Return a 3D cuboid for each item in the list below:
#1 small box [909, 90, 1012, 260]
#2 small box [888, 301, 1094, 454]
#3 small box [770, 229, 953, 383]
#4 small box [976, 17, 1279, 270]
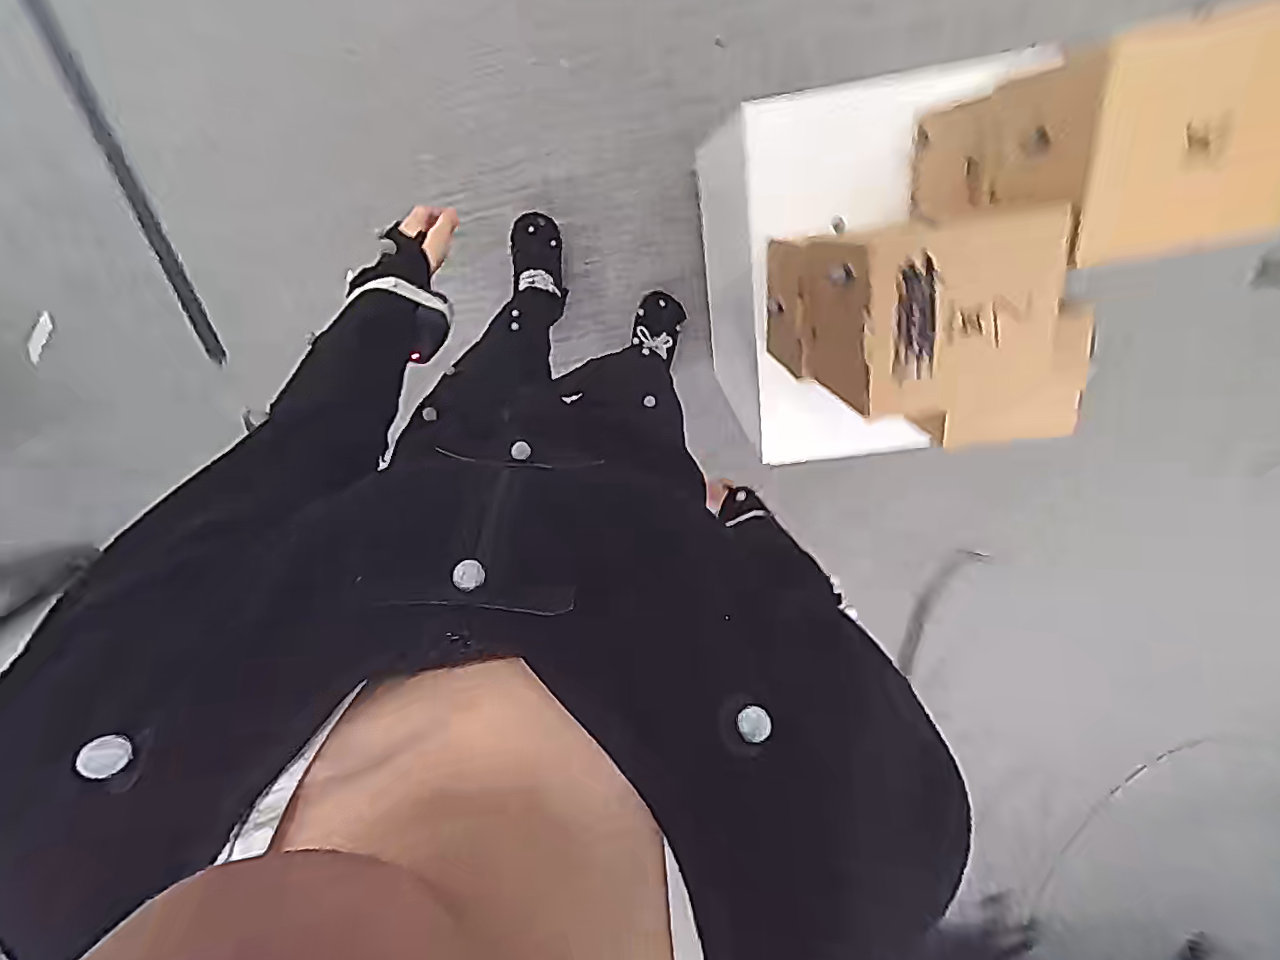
[{"bbox_3d":[0.453,-0.369,0.659,0.179,0.176,0.168,-6,117,2],"label":"small box"},{"bbox_3d":[0.479,-0.152,0.770,0.179,0.176,0.168,-7,115,4],"label":"small box"},{"bbox_3d":[0.276,-0.237,0.722,0.179,0.176,0.168,-6,116,1],"label":"small box"},{"bbox_3d":[0.454,-0.303,0.510,0.179,0.176,0.168,-9,117,3],"label":"small box"}]
